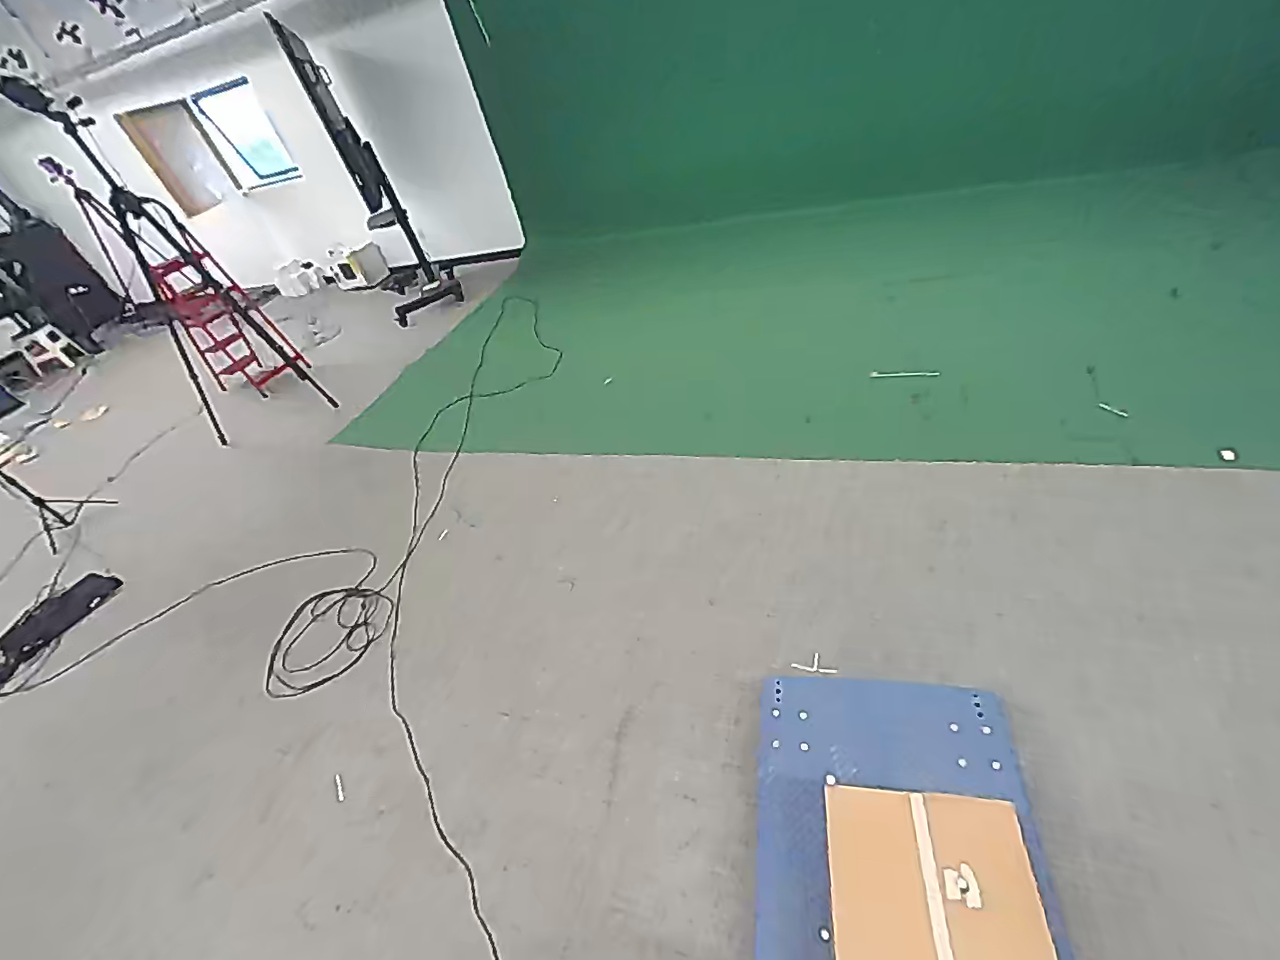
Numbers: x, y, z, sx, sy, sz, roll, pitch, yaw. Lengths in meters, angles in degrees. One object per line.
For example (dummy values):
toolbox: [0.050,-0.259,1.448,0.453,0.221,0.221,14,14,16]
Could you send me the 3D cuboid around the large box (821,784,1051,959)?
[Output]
large box: [0.494,0.815,0.940,0.320,0.320,0.408,-2,41,16]
